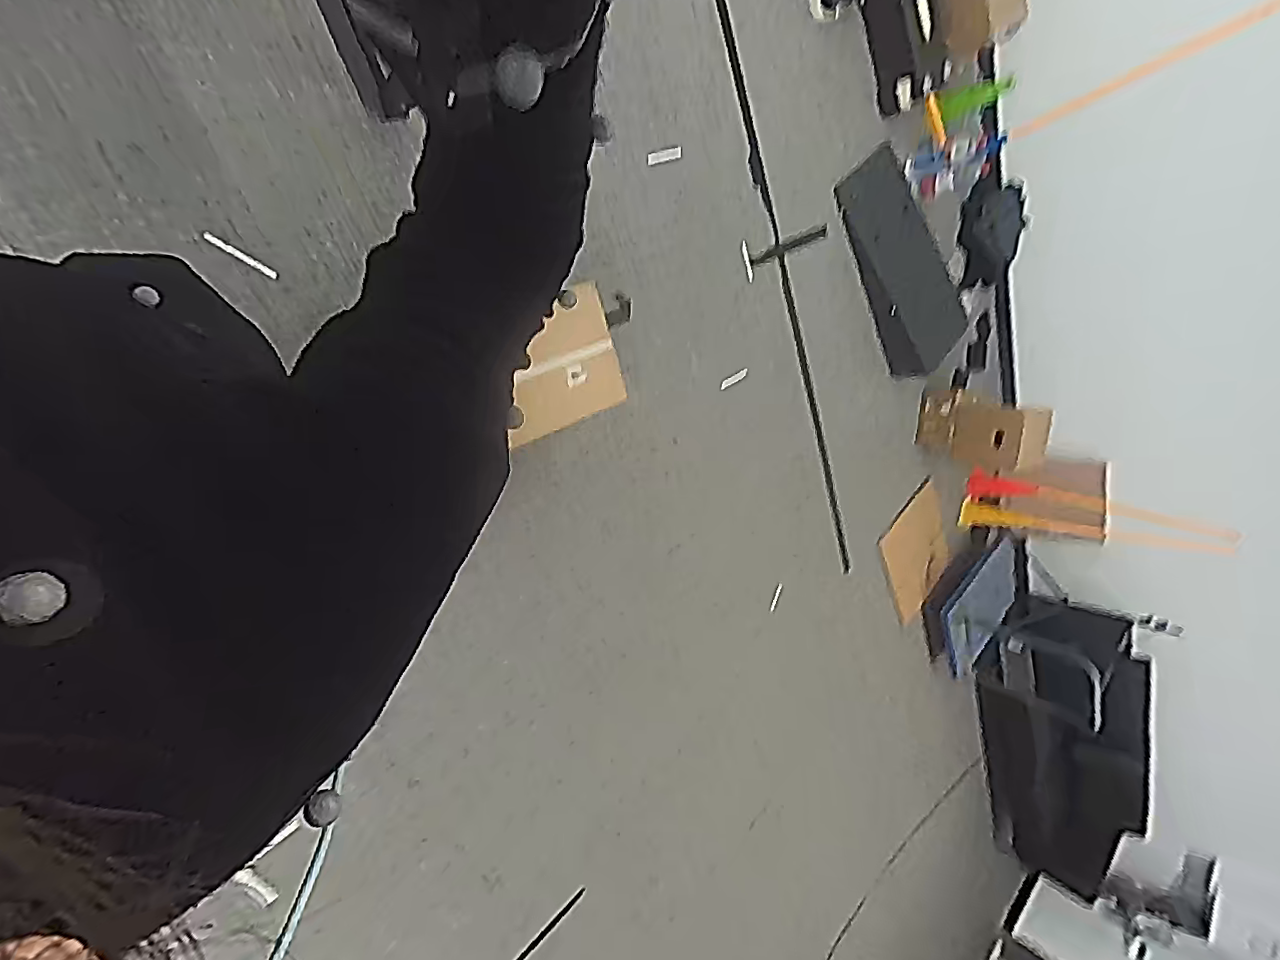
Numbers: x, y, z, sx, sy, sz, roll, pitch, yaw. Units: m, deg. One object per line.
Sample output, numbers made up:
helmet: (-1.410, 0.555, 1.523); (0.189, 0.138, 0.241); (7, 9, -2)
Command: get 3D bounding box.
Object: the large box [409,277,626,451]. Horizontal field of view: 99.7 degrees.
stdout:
large box: (-0.316, -0.301, 1.411); (0.408, 0.320, 0.320); (-30, 115, -31)
